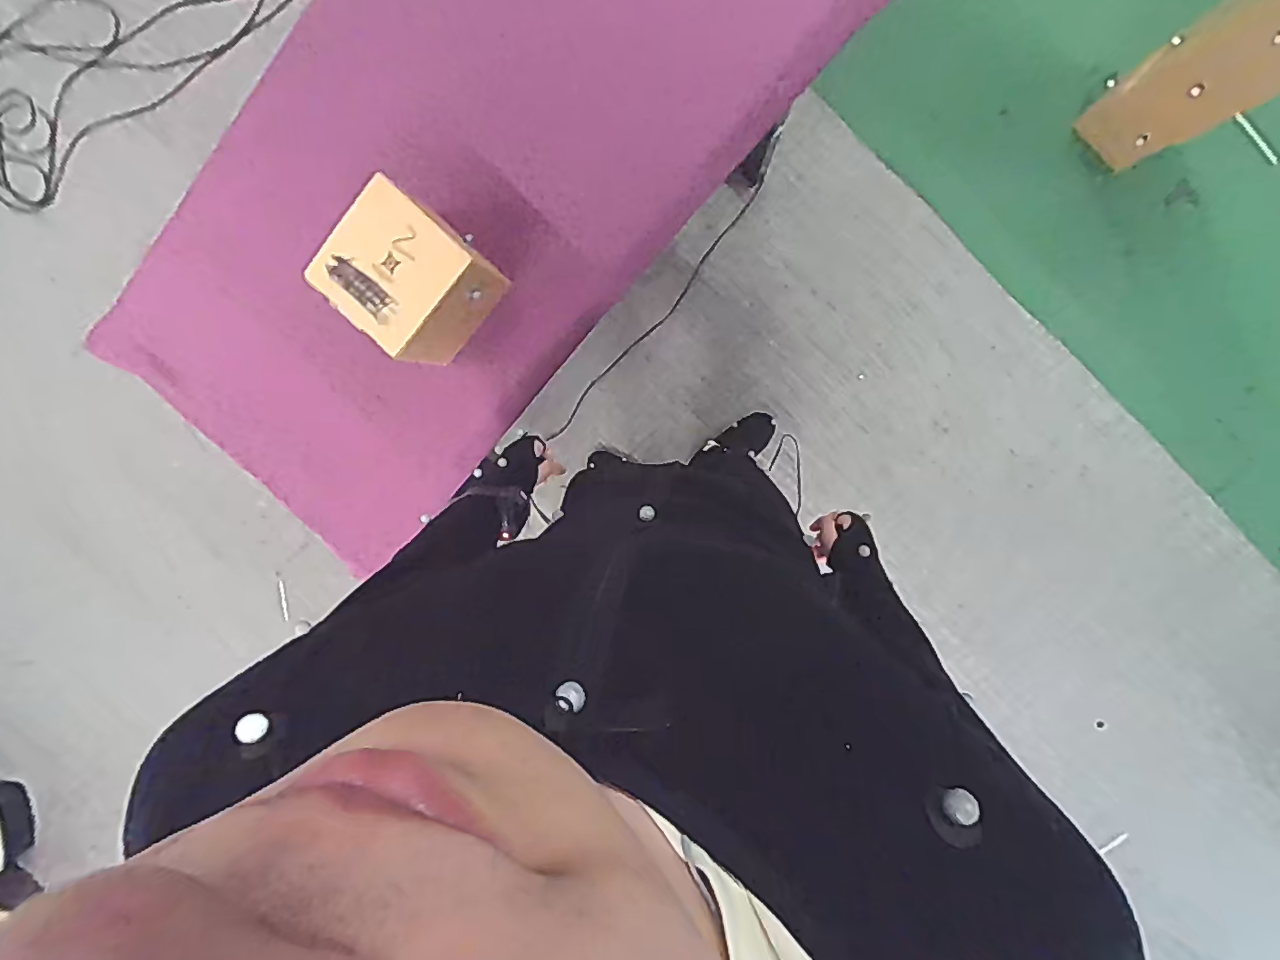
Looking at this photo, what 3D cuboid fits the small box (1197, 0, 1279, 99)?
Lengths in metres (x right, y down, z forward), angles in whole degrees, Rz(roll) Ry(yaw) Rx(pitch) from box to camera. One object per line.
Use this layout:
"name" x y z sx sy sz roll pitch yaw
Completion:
"small box" 1.203 -0.849 0.983 0.179 0.176 0.168 39 101 -3

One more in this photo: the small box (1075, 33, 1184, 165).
"small box" 1.224 -0.900 1.304 0.179 0.176 0.168 44 100 -3

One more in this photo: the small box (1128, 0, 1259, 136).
"small box" 1.218 -0.872 1.145 0.179 0.176 0.168 41 100 -2
